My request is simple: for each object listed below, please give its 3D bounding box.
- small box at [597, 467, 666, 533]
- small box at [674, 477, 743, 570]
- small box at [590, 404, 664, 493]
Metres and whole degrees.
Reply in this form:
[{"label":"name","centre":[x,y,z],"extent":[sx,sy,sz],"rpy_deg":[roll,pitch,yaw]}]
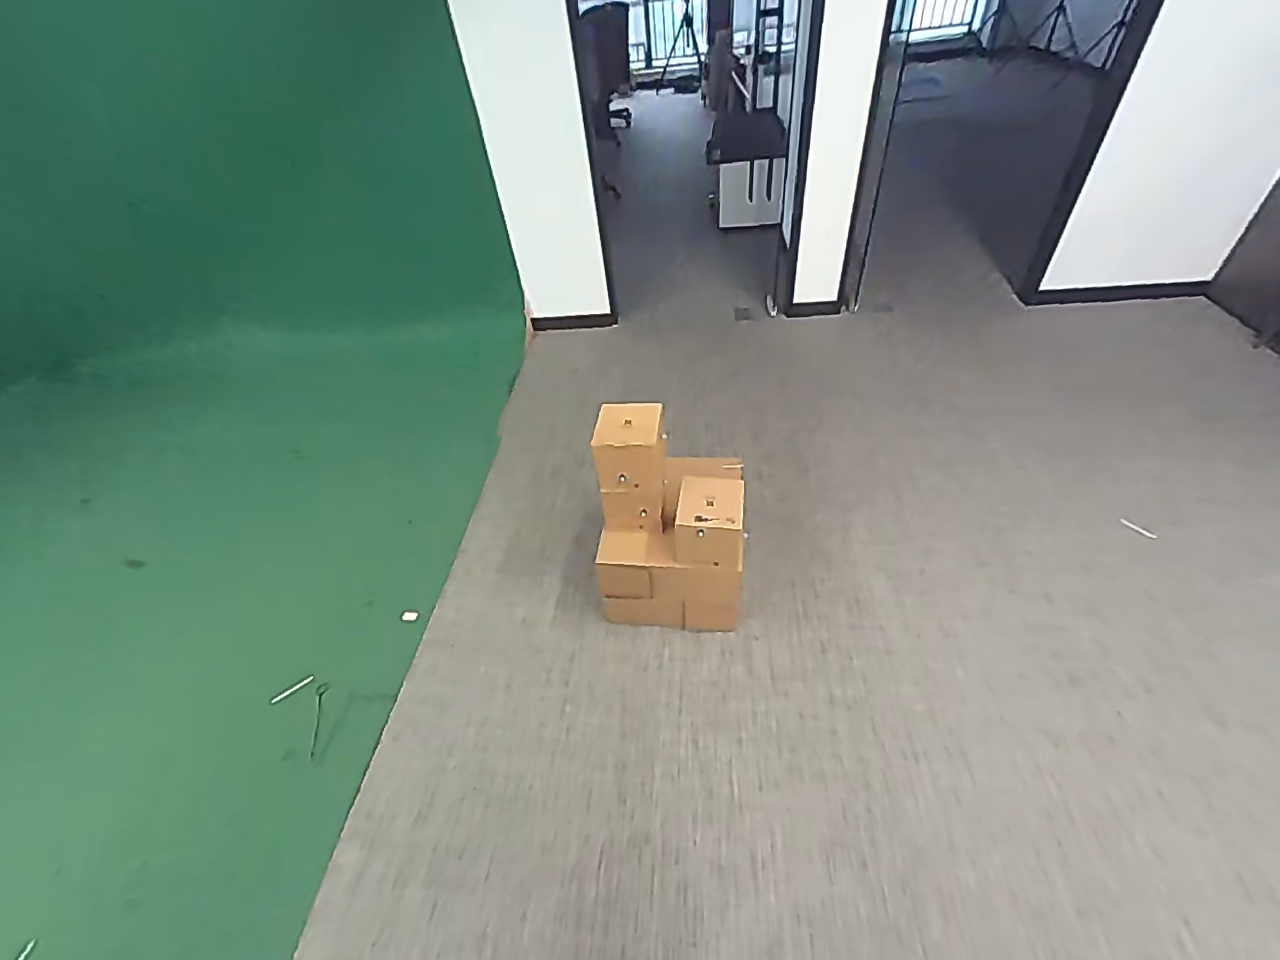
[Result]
[{"label":"small box","centre":[-0.017,0.036,1.555],"extent":[0.168,0.176,0.179],"rpy_deg":[1,43,10]},{"label":"small box","centre":[0.184,0.115,1.439],"extent":[0.168,0.176,0.179],"rpy_deg":[3,43,11]},{"label":"small box","centre":[-0.027,-0.085,1.445],"extent":[0.168,0.176,0.179],"rpy_deg":[1,45,10]}]
